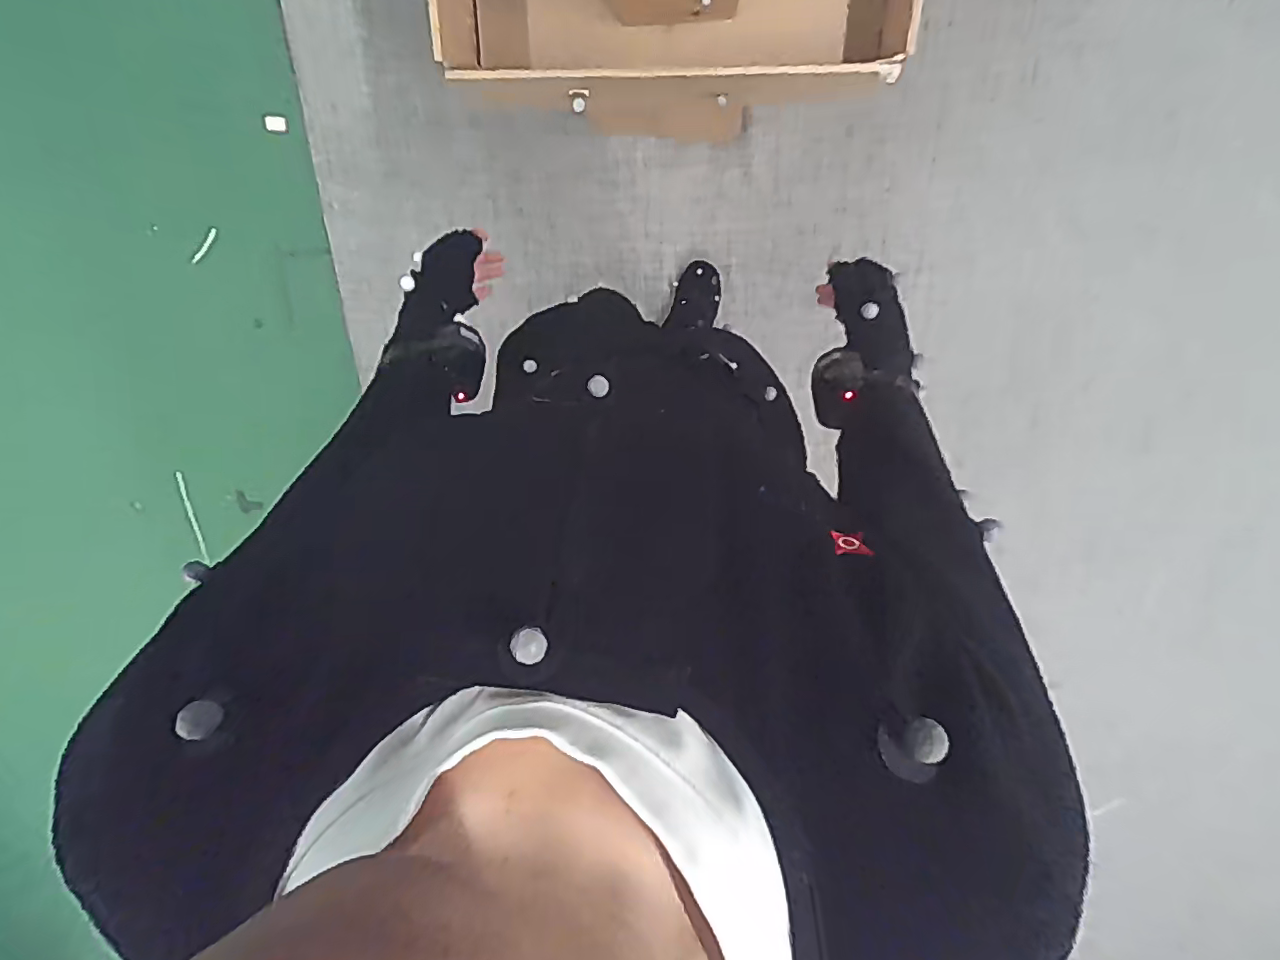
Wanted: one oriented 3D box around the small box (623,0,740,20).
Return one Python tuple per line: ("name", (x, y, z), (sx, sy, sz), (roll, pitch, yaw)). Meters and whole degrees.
("small box", (0.053, -0.721, 0.687), (0.168, 0.176, 0.179), (0, 110, 5))
